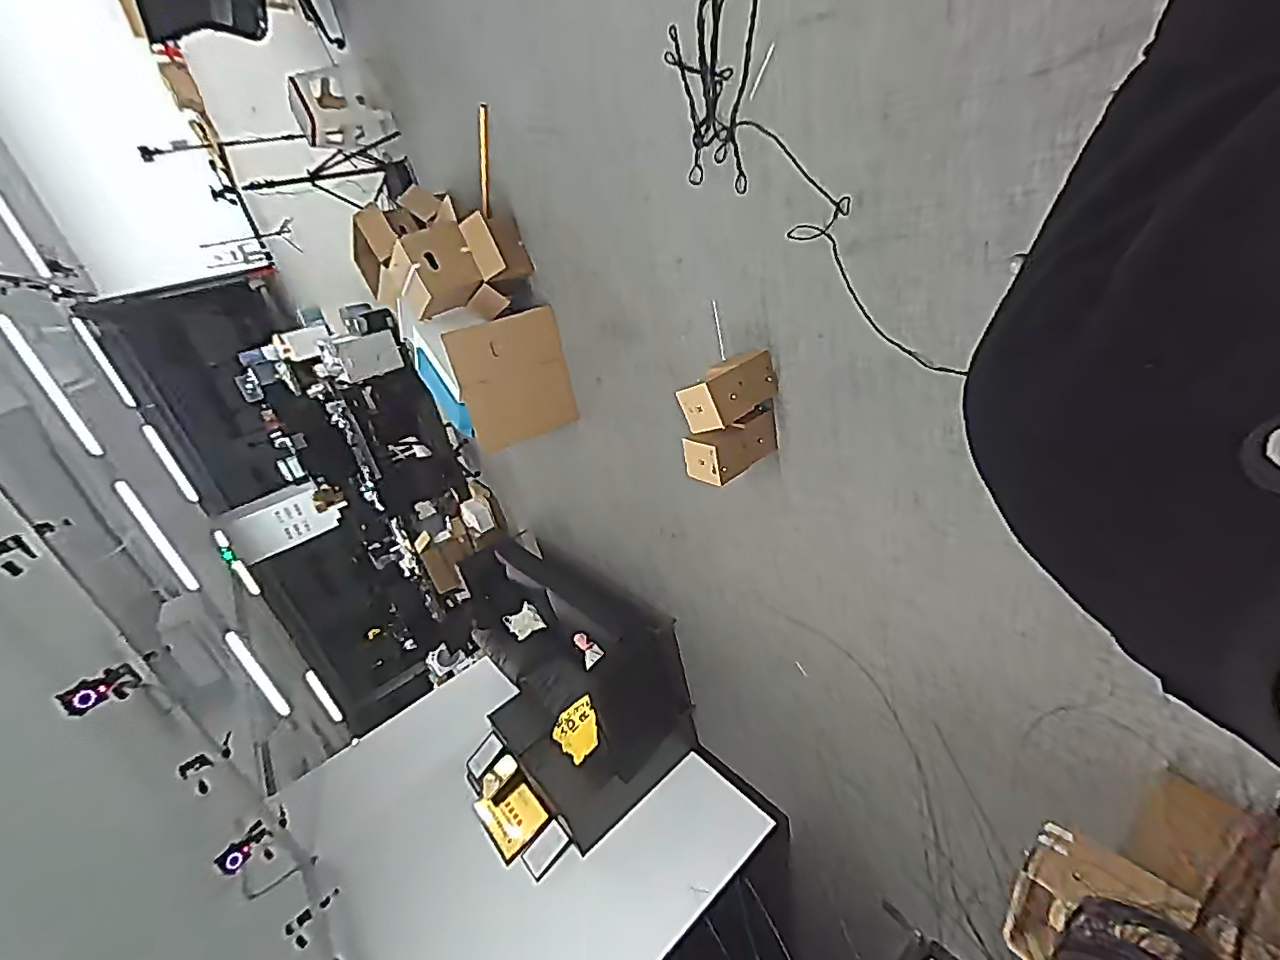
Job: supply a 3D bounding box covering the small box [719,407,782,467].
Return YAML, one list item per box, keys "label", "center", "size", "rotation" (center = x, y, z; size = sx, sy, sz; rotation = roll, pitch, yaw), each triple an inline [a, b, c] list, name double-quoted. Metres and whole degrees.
- label: "small box"
  center: [0.430, -0.177, 2.102]
  size: [0.168, 0.176, 0.179]
  rotation: [21, 133, 50]

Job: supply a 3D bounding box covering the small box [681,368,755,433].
- label: "small box"
  center: [0.283, -0.280, 1.906]
  size: [0.179, 0.176, 0.168]
  rotation: [-5, 112, 59]
